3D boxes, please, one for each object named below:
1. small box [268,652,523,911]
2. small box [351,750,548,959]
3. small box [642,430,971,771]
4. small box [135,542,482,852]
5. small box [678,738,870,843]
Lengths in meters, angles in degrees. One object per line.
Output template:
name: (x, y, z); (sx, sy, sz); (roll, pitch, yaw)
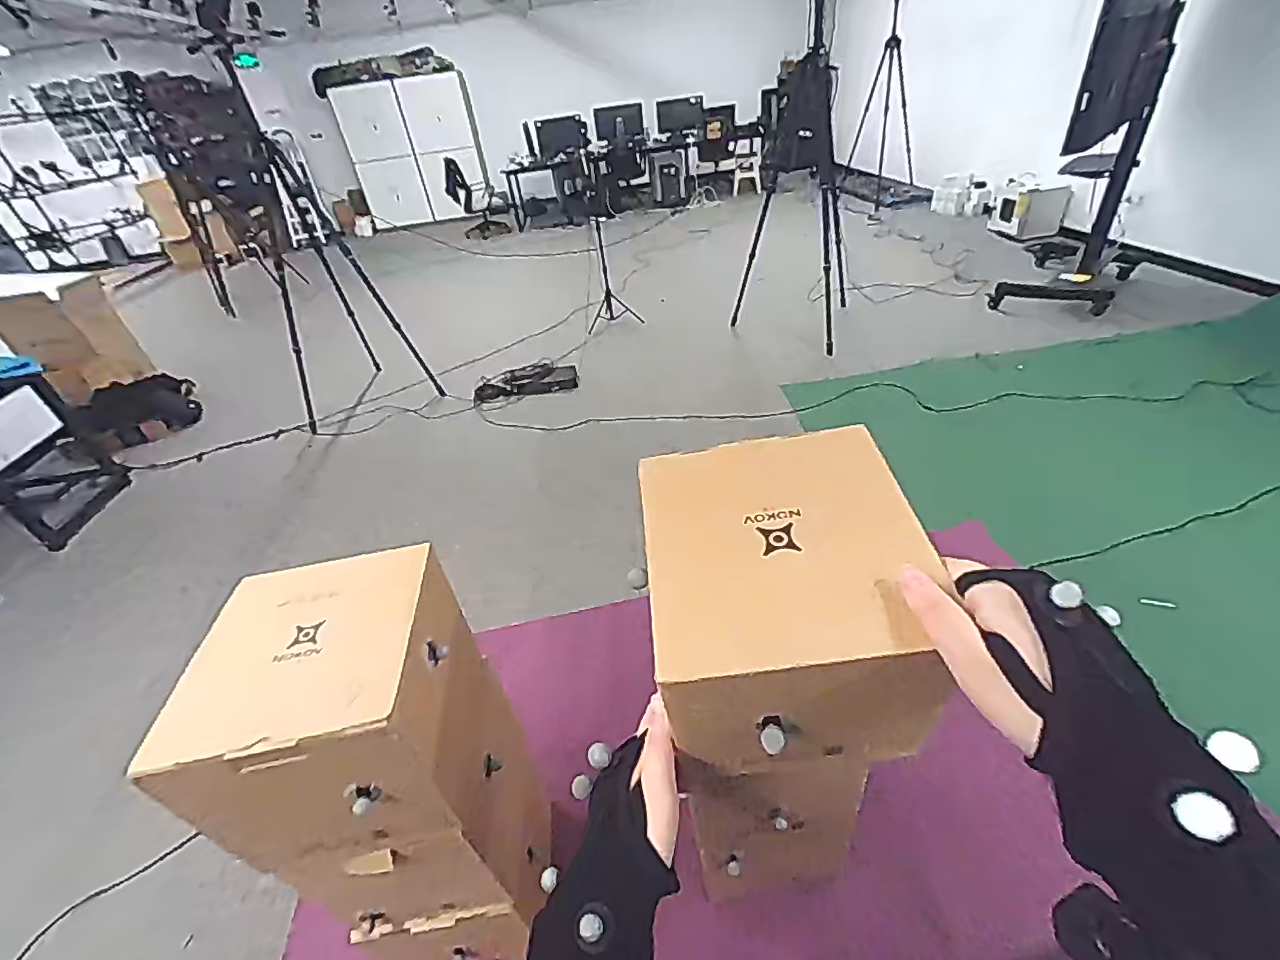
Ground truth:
small box: (-0.224, 0.310, 0.556); (0.168, 0.176, 0.179); (-8, 36, -1)
small box: (-0.208, 0.445, 0.649); (0.168, 0.176, 0.179); (-8, 38, -2)
small box: (0.098, 0.092, 0.391); (0.168, 0.176, 0.179); (-8, 44, 4)
small box: (-0.240, 0.183, 0.455); (0.168, 0.176, 0.179); (-9, 36, -3)
small box: (0.121, 0.248, 0.574); (0.168, 0.176, 0.179); (-8, 37, 0)
